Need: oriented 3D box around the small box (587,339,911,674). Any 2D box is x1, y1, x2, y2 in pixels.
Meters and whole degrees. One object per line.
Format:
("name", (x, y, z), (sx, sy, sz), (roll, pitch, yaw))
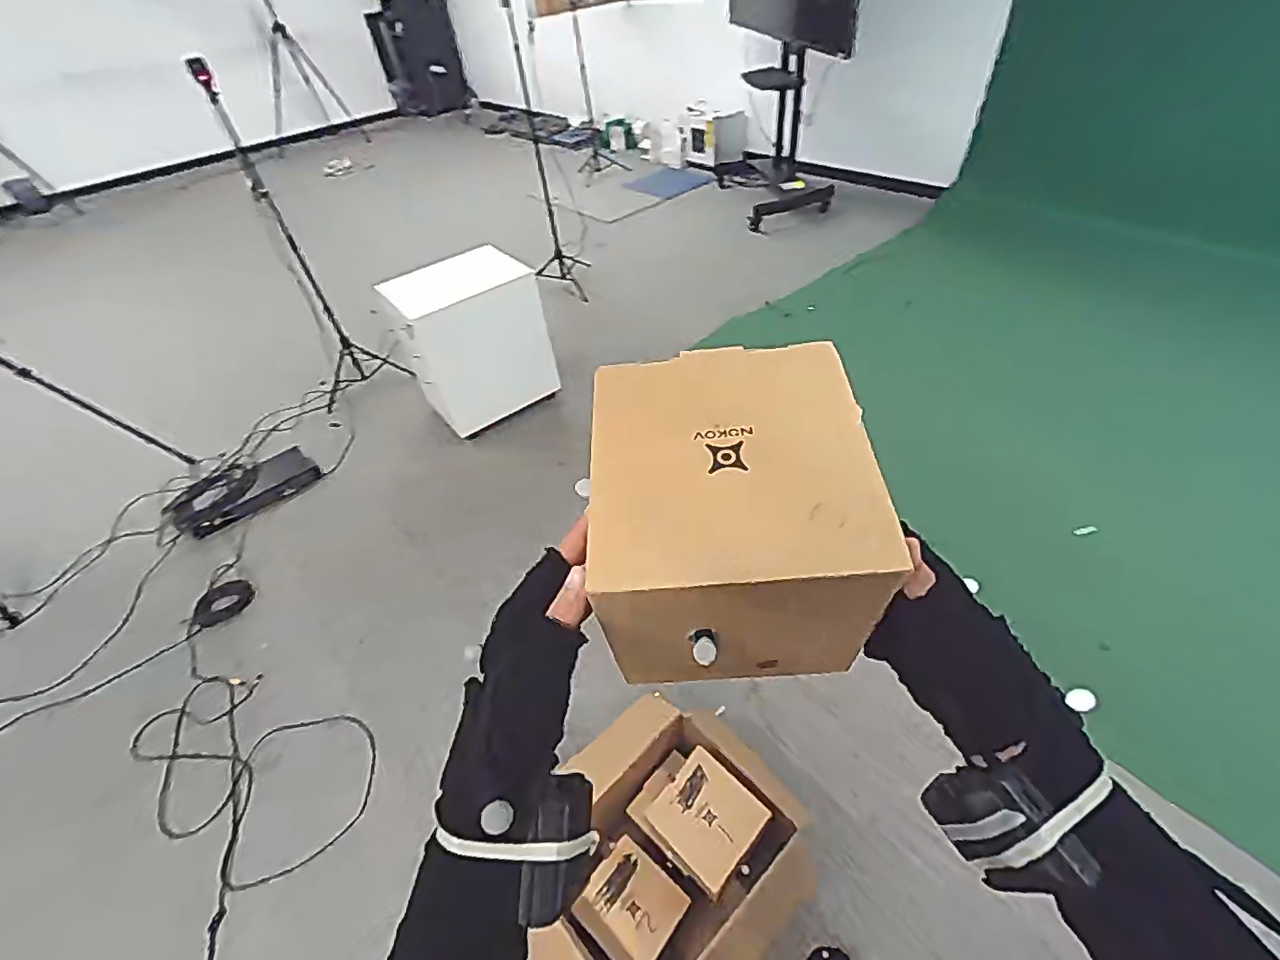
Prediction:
("small box", (0.063, 0.029, 0.383), (0.168, 0.176, 0.179), (-5, 52, 5))
